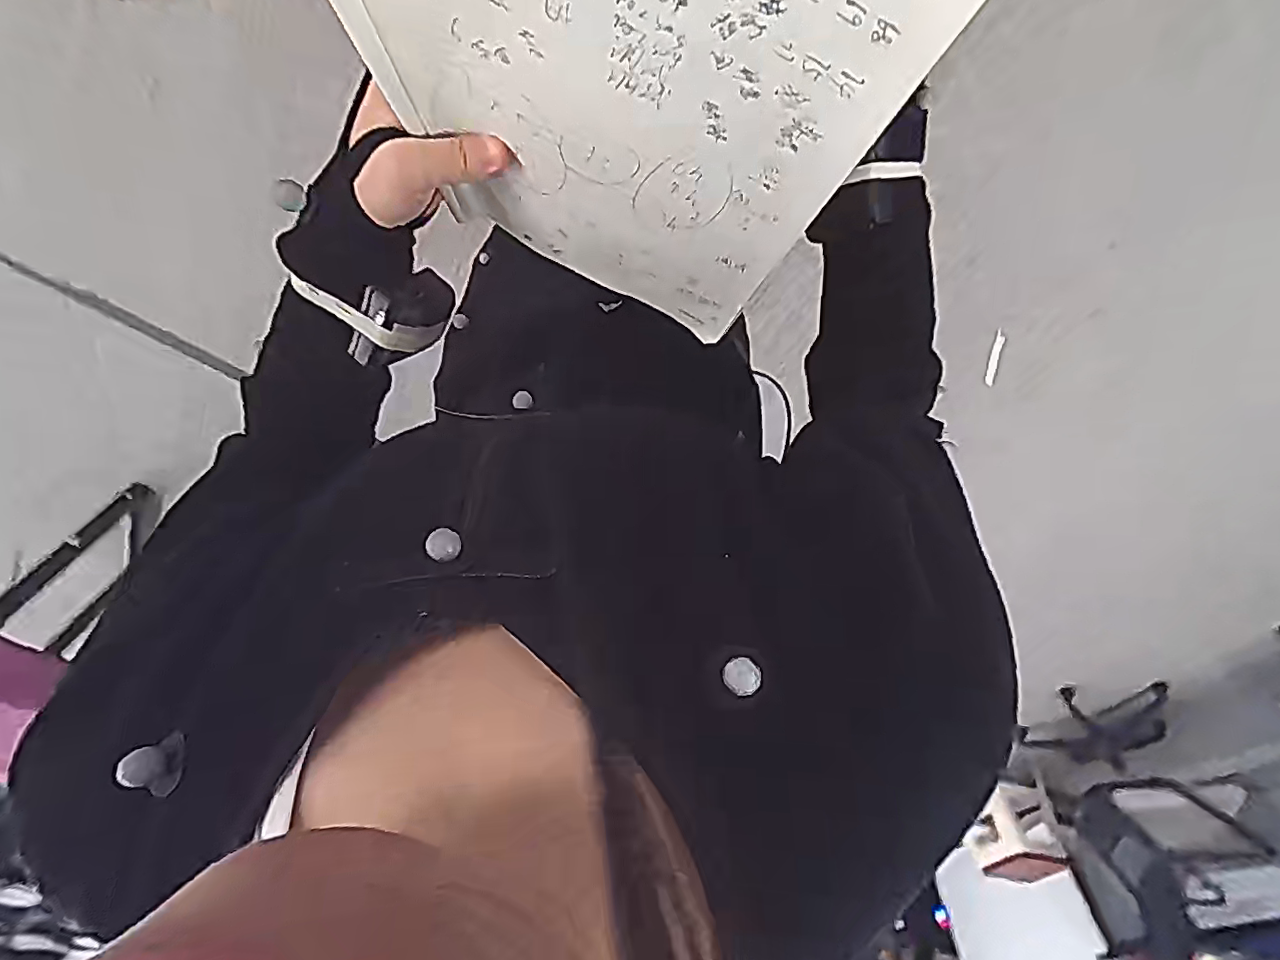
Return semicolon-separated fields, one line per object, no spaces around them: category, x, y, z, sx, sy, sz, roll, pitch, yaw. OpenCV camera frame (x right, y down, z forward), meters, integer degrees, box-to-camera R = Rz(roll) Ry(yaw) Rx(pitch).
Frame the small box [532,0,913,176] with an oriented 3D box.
small box;0.026;-0.278;0.243;0.168;0.176;0.179;-9;160;-4
